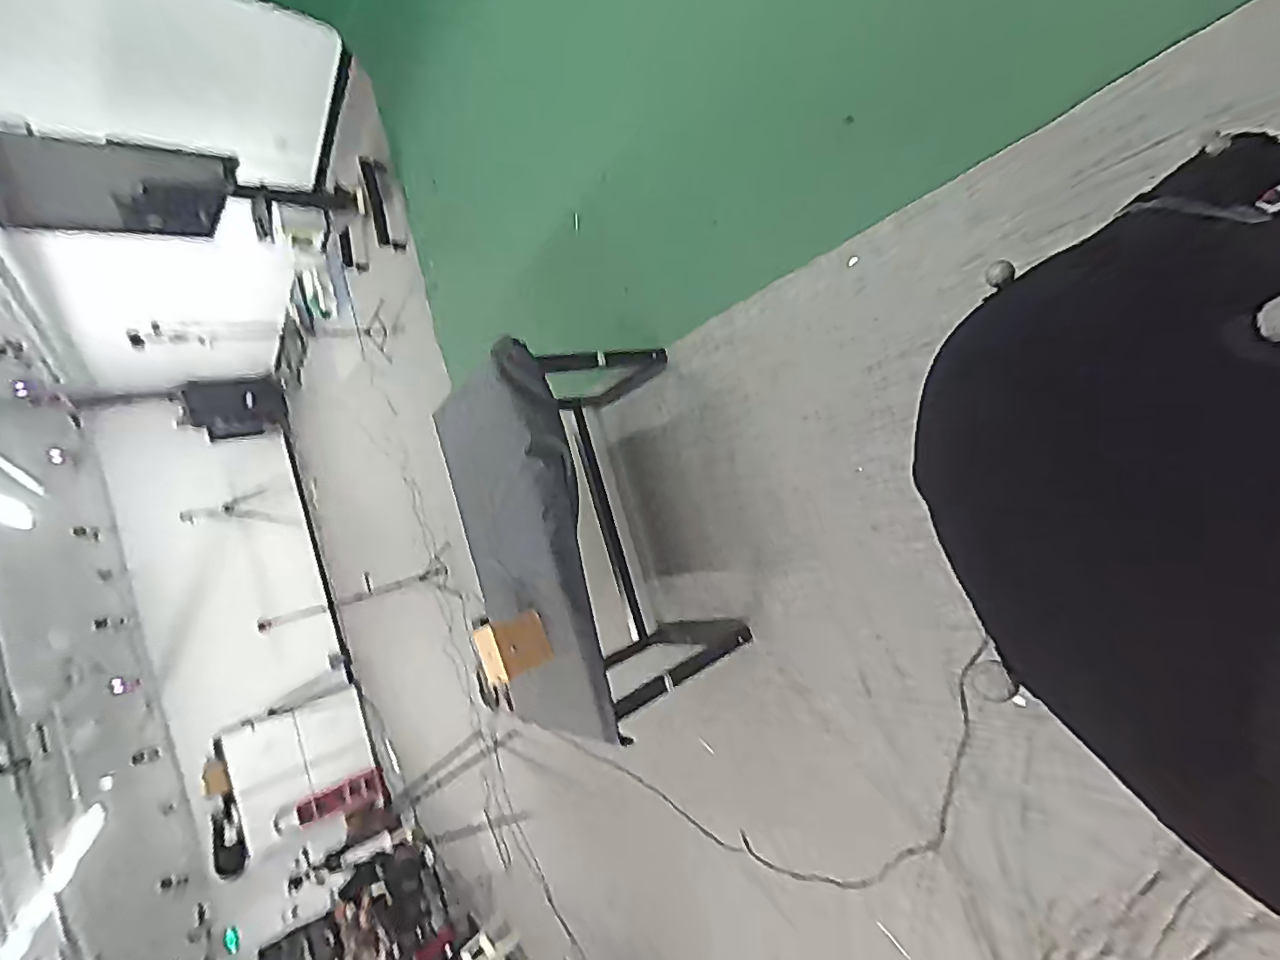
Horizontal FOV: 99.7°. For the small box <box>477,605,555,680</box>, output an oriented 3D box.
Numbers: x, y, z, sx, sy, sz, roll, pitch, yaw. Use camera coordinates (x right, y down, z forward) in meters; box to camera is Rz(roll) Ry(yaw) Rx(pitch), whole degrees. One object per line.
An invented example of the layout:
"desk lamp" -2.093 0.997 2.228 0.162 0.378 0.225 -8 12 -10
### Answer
"small box" -0.395 0.521 1.735 0.168 0.176 0.179 -33 75 48
